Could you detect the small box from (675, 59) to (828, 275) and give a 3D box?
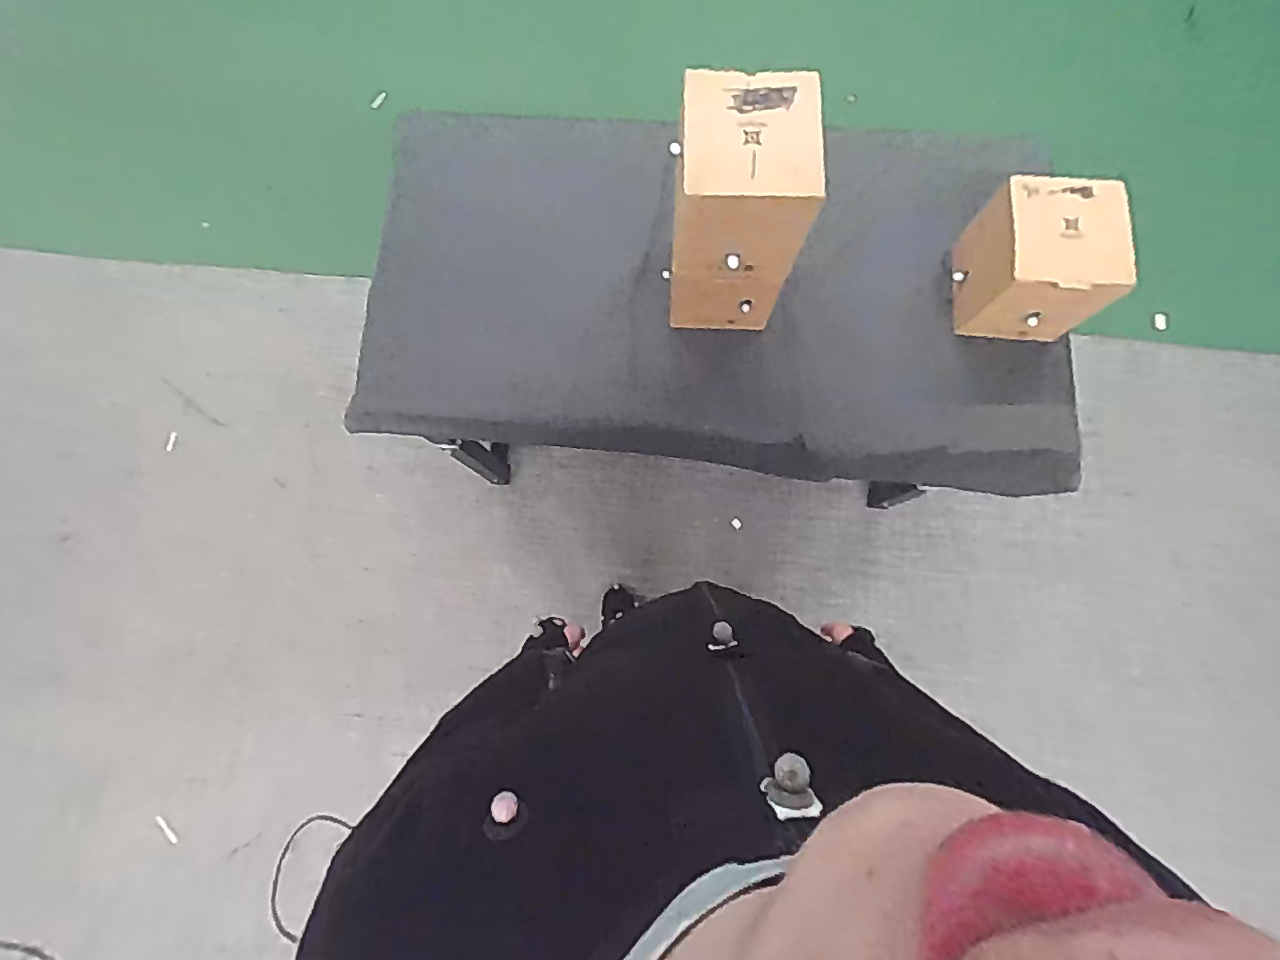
[{"bbox_3d":[0.133,-0.393,0.701,0.168,0.176,0.179,2,80,0],"label":"small box"}]

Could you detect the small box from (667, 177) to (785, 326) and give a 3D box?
[{"bbox_3d":[0.132,-0.363,0.862,0.168,0.176,0.179,3,77,0],"label":"small box"}]

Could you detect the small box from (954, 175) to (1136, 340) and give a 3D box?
[{"bbox_3d":[0.618,-0.336,0.846,0.168,0.176,0.179,6,79,2],"label":"small box"}]
